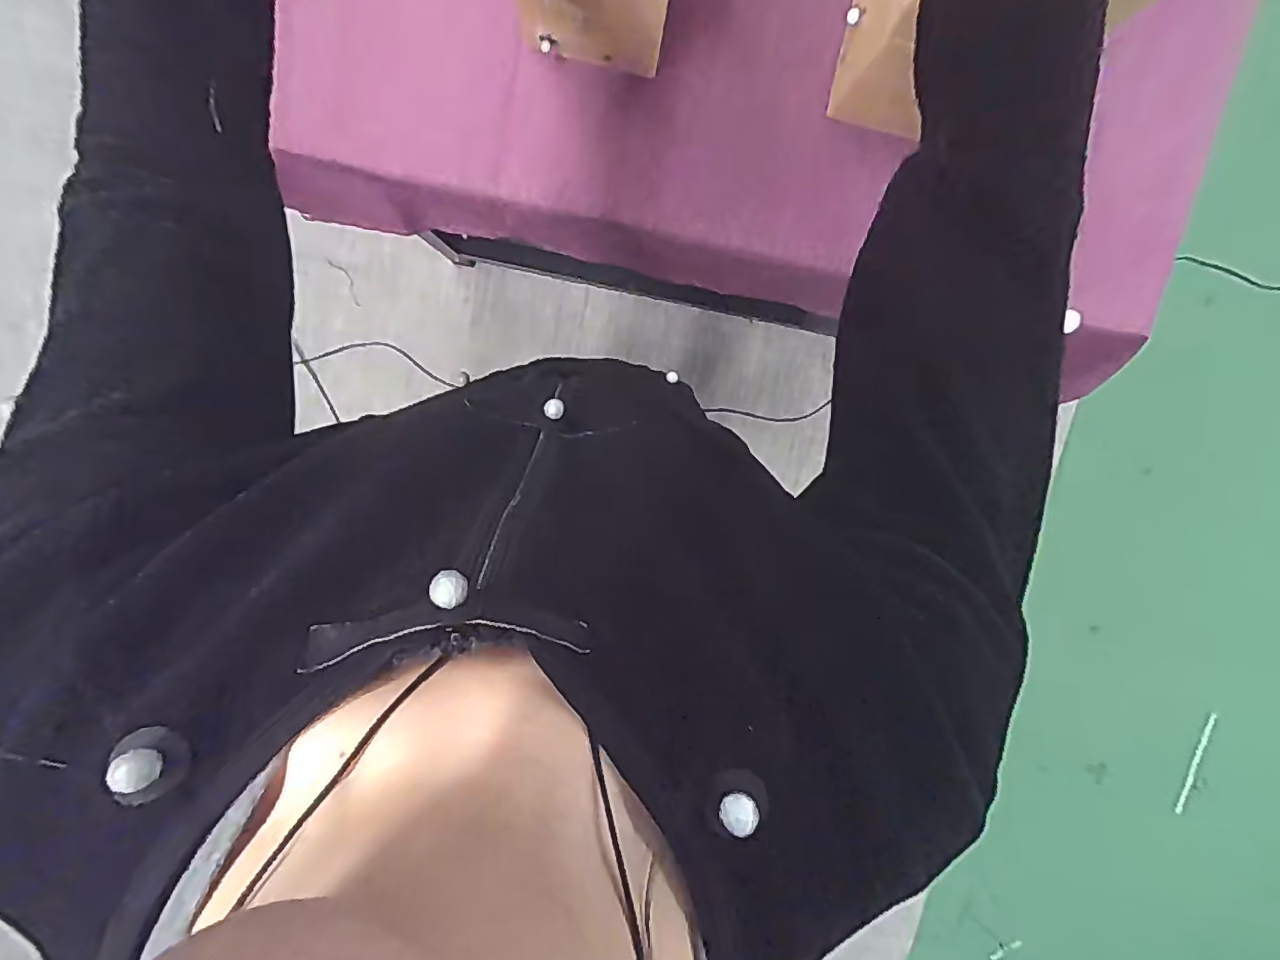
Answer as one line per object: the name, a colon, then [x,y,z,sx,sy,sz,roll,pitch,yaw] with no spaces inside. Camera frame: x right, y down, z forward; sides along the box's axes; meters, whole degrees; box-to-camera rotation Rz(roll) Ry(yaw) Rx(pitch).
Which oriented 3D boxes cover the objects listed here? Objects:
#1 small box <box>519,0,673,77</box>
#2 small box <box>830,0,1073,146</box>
small box: [-0.038,-0.584,0.582,0.168,0.176,0.179,10,98,-5]
small box: [0.347,-0.513,0.615,0.179,0.176,0.168,11,99,-5]
